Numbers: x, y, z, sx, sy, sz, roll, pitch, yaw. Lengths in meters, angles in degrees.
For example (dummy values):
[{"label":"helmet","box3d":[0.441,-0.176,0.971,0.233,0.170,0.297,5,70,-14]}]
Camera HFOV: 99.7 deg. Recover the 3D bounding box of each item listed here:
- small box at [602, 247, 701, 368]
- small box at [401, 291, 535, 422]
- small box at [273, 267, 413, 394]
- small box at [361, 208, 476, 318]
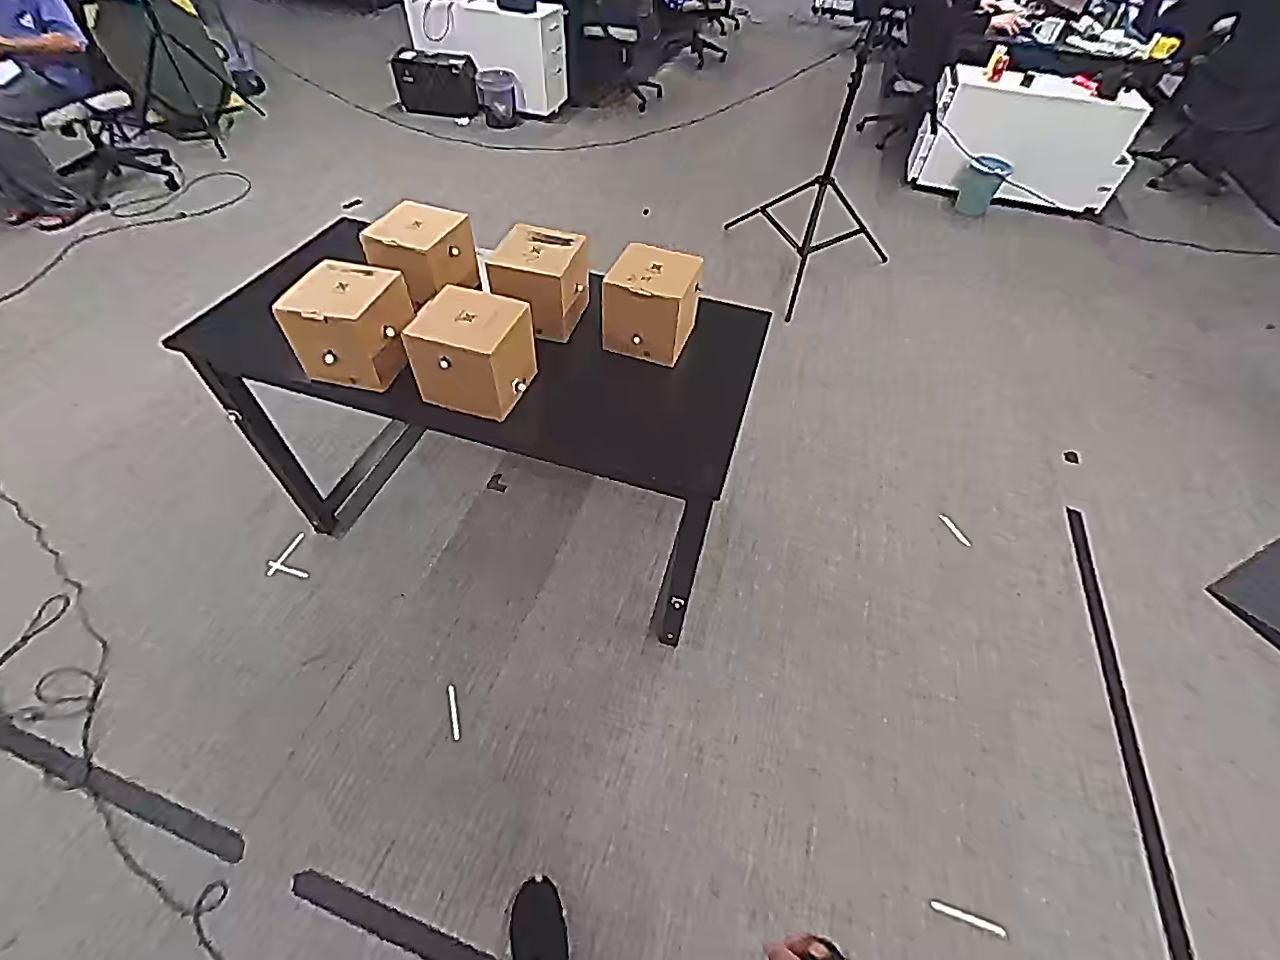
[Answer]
[{"label":"small box","box3d":[0.022,-0.374,1.178,0.168,0.176,0.179,16,52,11]},{"label":"small box","box3d":[-0.319,-0.236,1.046,0.179,0.176,0.168,15,52,8]},{"label":"small box","box3d":[-0.568,-0.295,1.078,0.168,0.176,0.179,10,51,5]},{"label":"small box","box3d":[-0.496,-0.494,1.247,0.168,0.176,0.179,16,52,9]}]
